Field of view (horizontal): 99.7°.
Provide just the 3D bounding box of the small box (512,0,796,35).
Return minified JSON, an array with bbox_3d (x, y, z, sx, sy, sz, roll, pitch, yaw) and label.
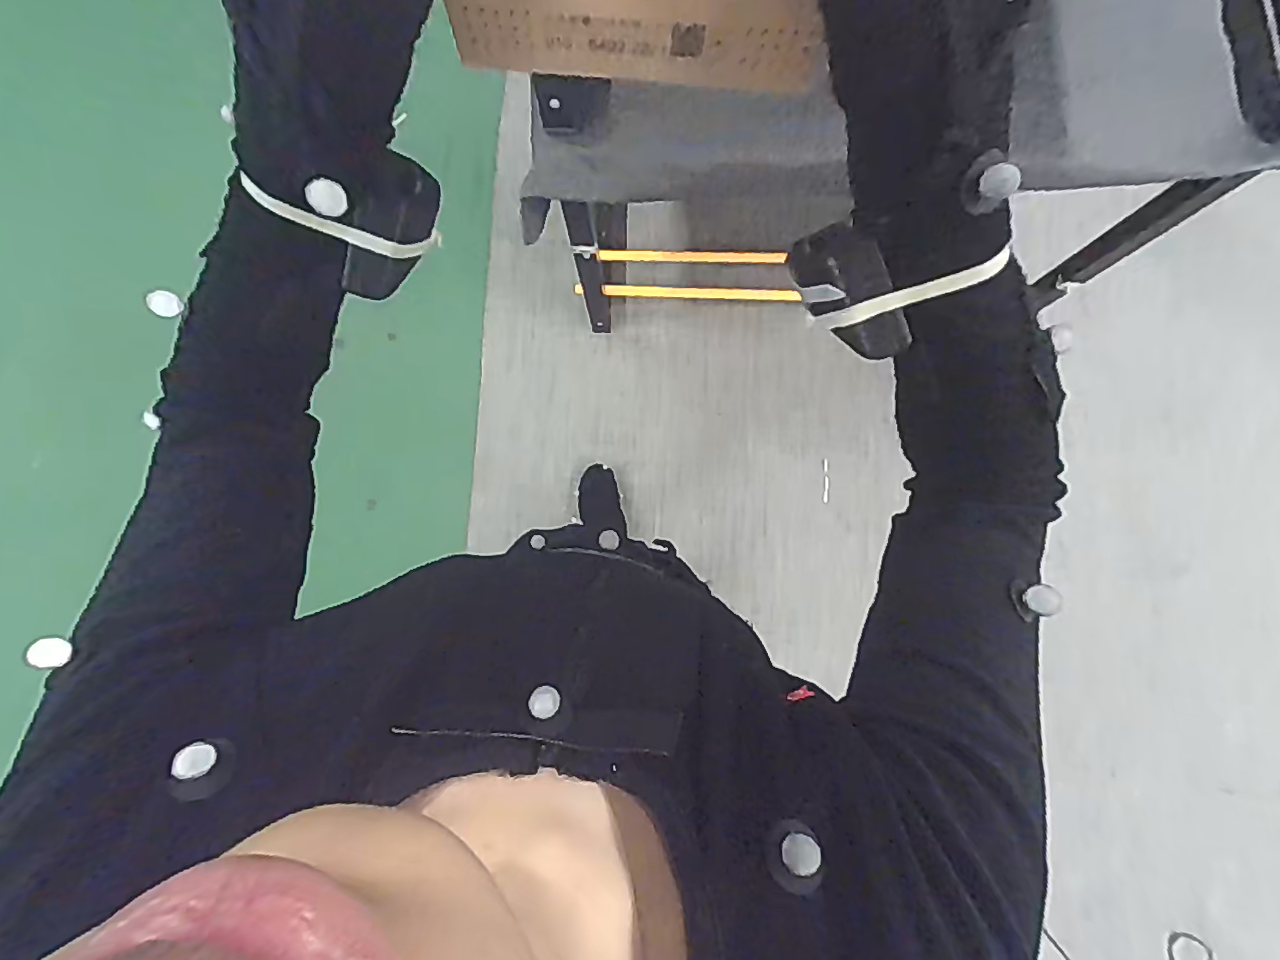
[{"bbox_3d":[-0.003,-0.306,0.190,0.168,0.176,0.179,4,77,-1],"label":"small box"}]
